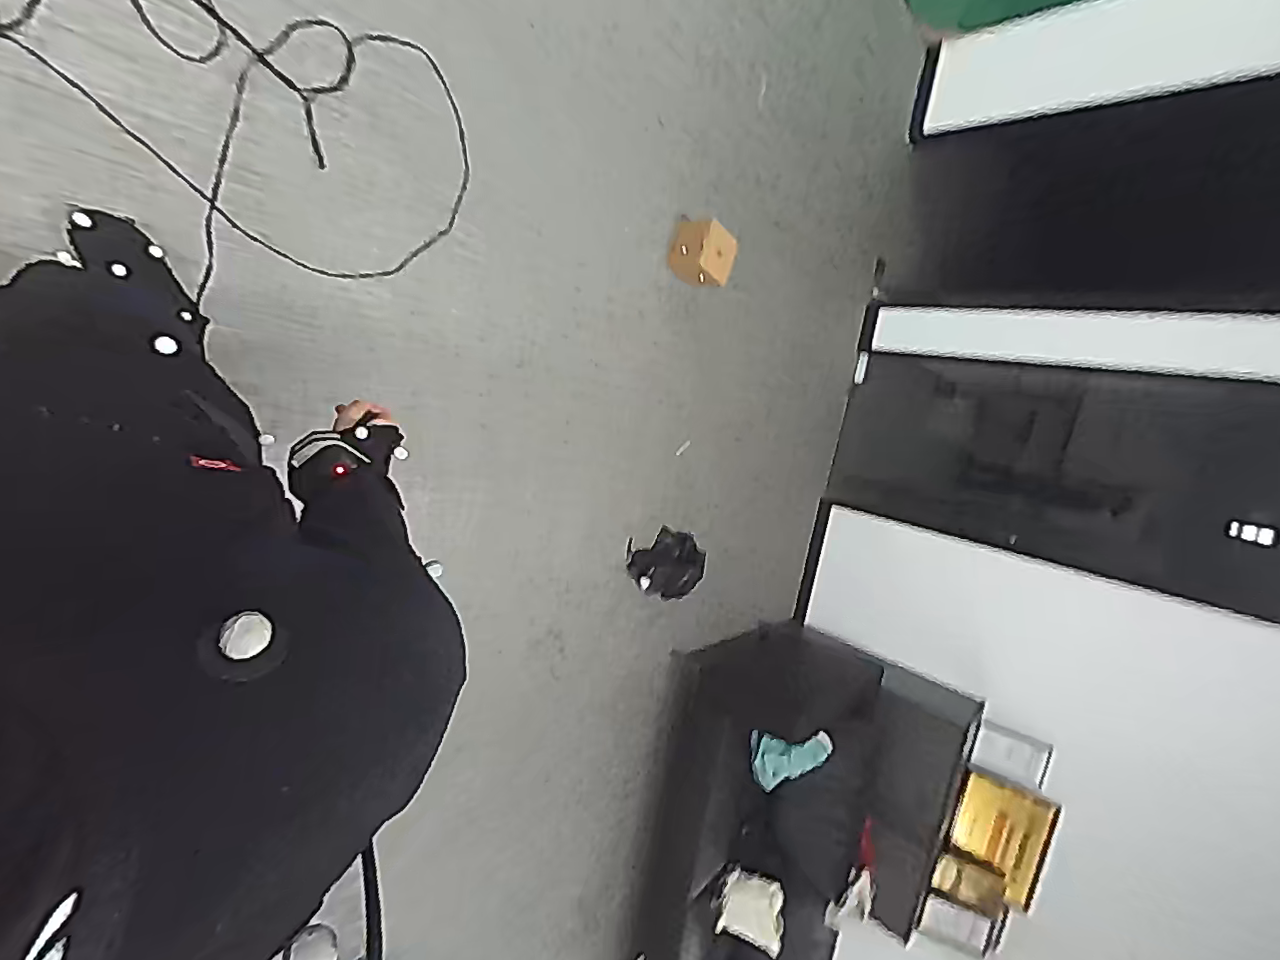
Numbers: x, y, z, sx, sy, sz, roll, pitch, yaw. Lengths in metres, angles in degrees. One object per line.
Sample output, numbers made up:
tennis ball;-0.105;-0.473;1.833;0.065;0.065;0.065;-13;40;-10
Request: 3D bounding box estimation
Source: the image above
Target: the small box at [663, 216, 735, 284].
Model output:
small box;0.208;-0.819;1.940;0.179;0.176;0.168;15;93;-50
